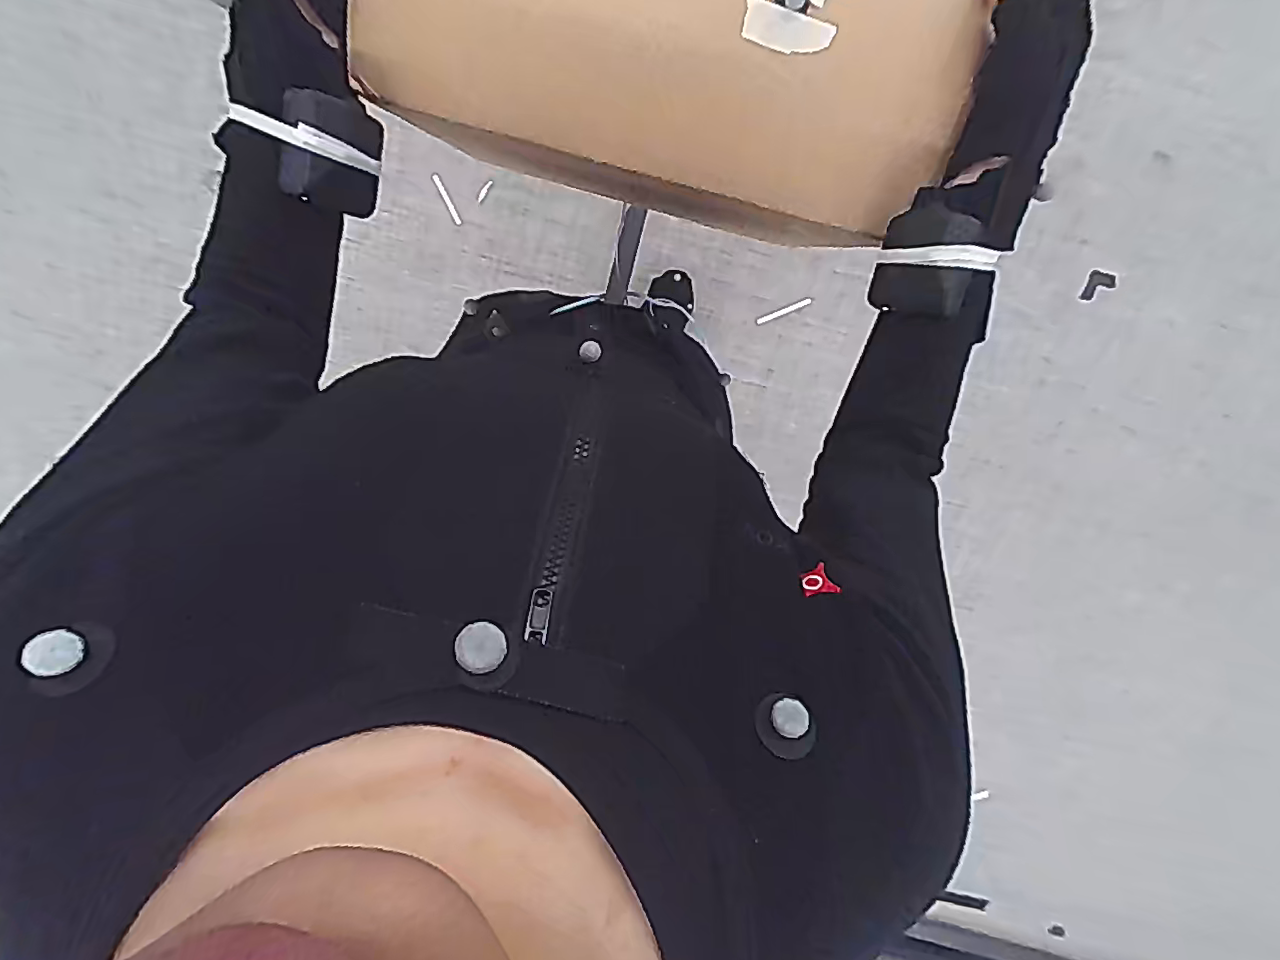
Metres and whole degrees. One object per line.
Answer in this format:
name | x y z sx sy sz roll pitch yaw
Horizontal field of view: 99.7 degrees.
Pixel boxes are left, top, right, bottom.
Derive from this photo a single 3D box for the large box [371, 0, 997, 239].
large box | 0.036 -0.416 0.465 0.408 0.320 0.320 11 114 -7
